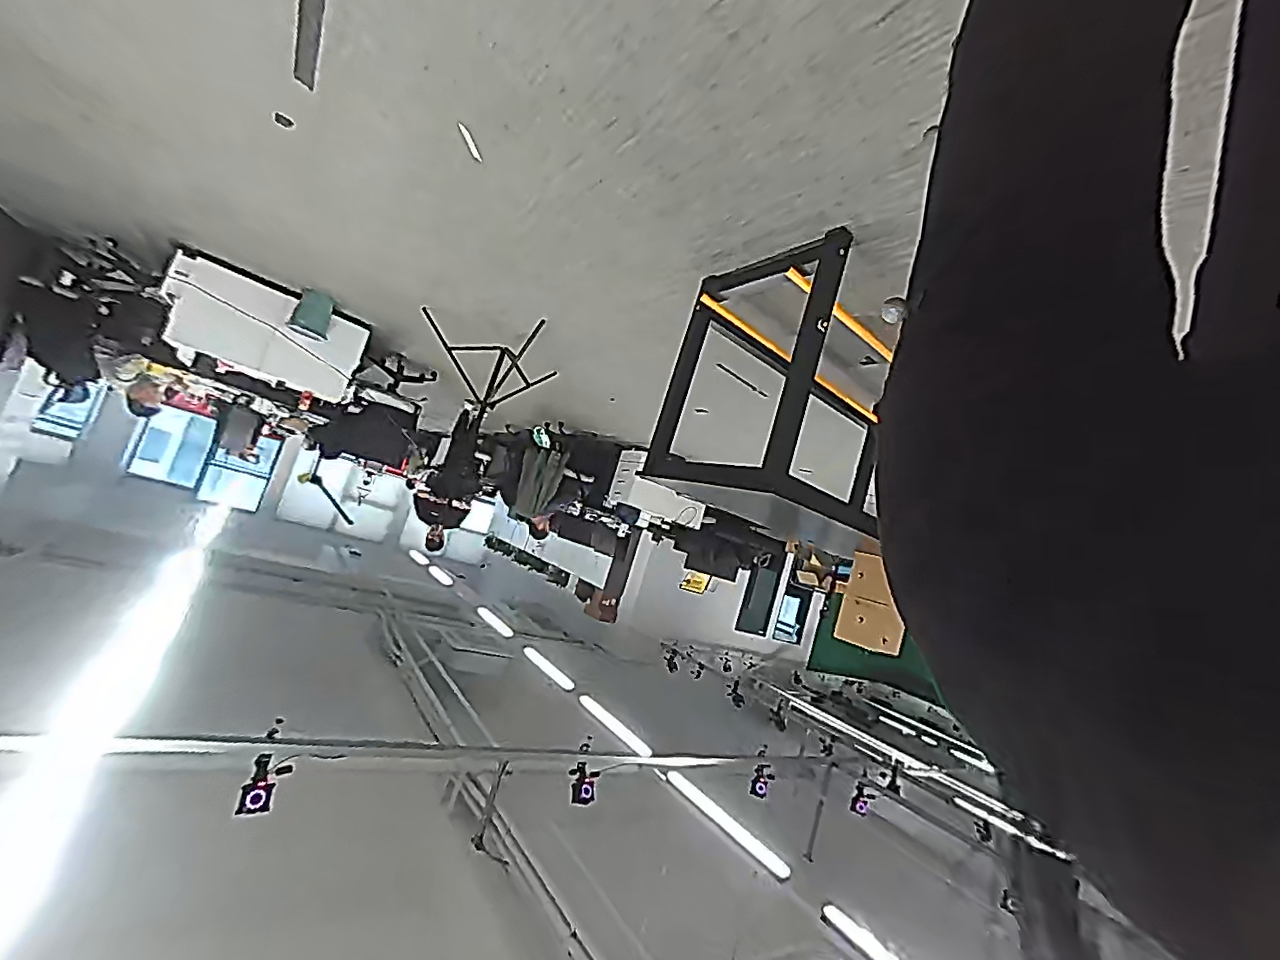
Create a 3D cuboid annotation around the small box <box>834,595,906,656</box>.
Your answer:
[{"bbox_3d":[0.850,0.532,1.993,0.179,0.176,0.168,21,174,-37],"label":"small box"}]

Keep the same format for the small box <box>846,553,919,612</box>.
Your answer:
[{"bbox_3d":[0.899,0.374,2.002,0.168,0.176,0.179,21,172,-37],"label":"small box"}]
